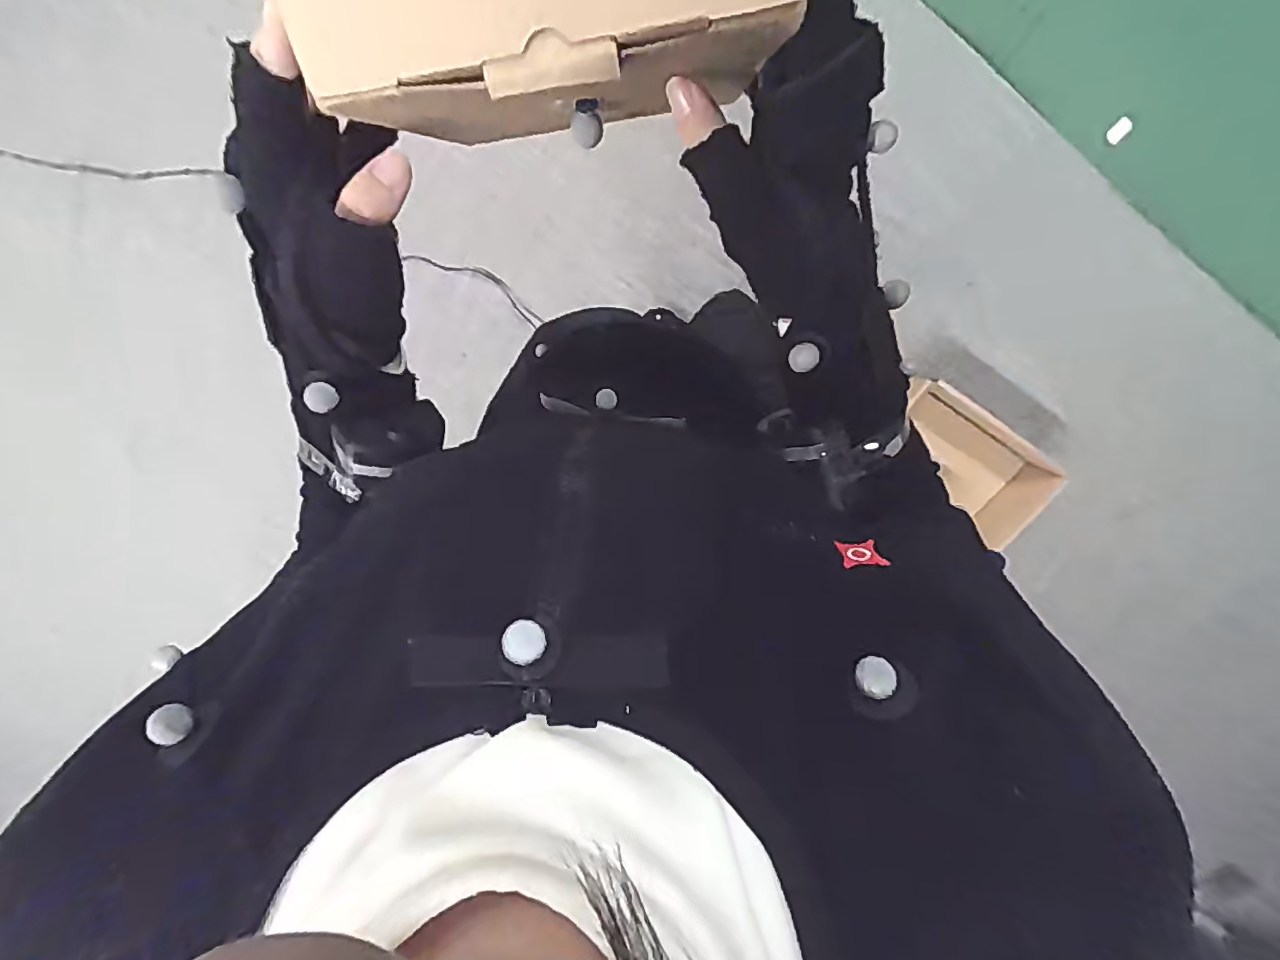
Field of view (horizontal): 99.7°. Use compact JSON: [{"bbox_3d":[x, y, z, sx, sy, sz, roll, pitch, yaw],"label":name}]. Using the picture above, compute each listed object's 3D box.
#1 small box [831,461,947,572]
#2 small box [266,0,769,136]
[{"bbox_3d":[0.585,0.082,1.303,0.168,0.176,0.179,32,108,-7],"label":"small box"},{"bbox_3d":[-0.045,-0.249,0.213,0.168,0.176,0.179,-7,119,6],"label":"small box"}]
